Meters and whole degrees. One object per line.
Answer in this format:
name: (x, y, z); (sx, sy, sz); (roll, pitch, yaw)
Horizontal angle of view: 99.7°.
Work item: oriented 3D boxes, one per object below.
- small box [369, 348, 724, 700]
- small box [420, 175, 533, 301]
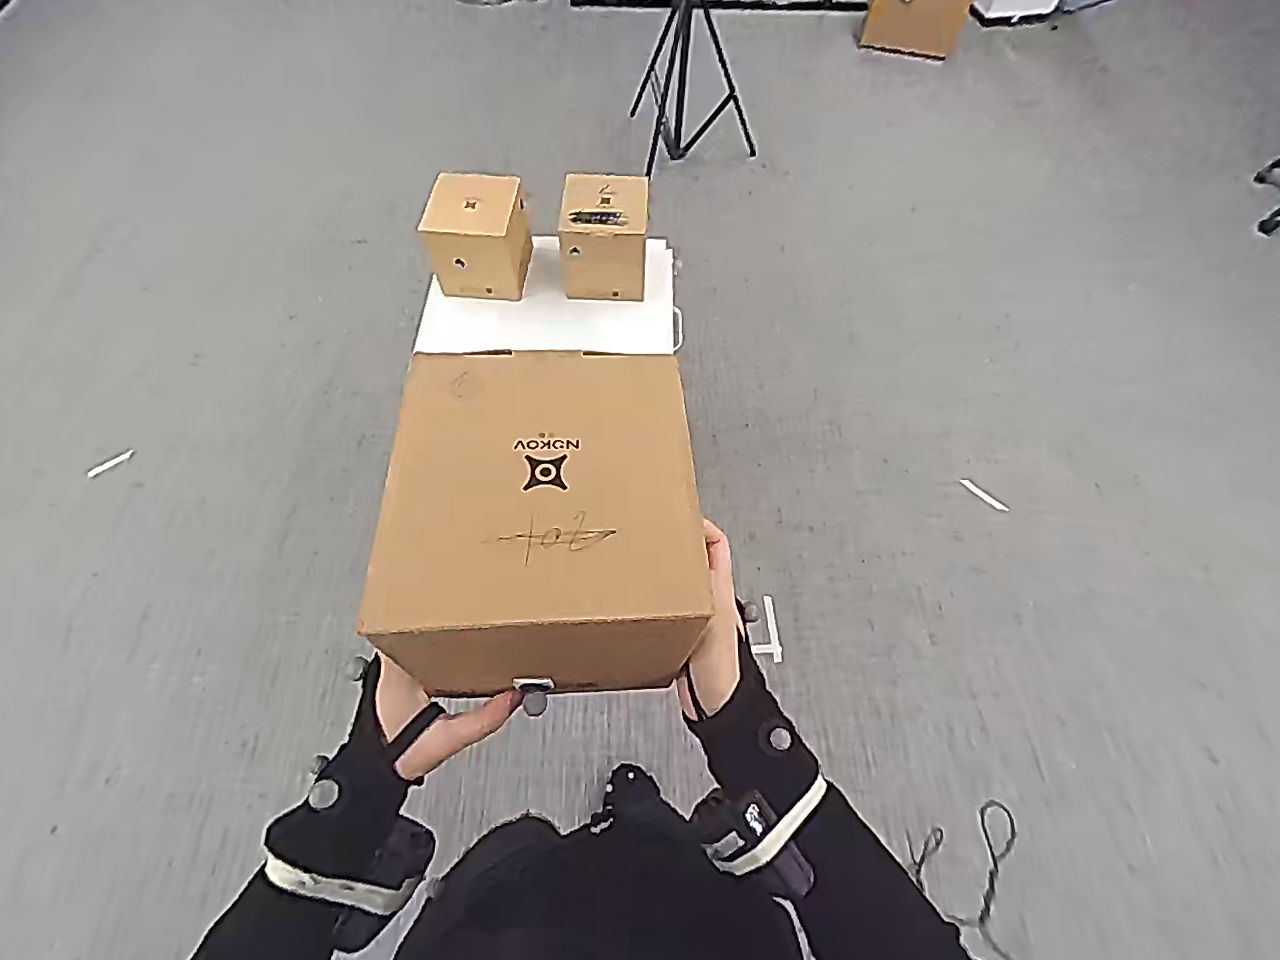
small box: (-0.054, 0.034, 0.360); (0.168, 0.176, 0.179); (-2, 58, -6)
small box: (-0.322, -0.490, 1.108); (0.168, 0.176, 0.179); (4, 62, 1)
